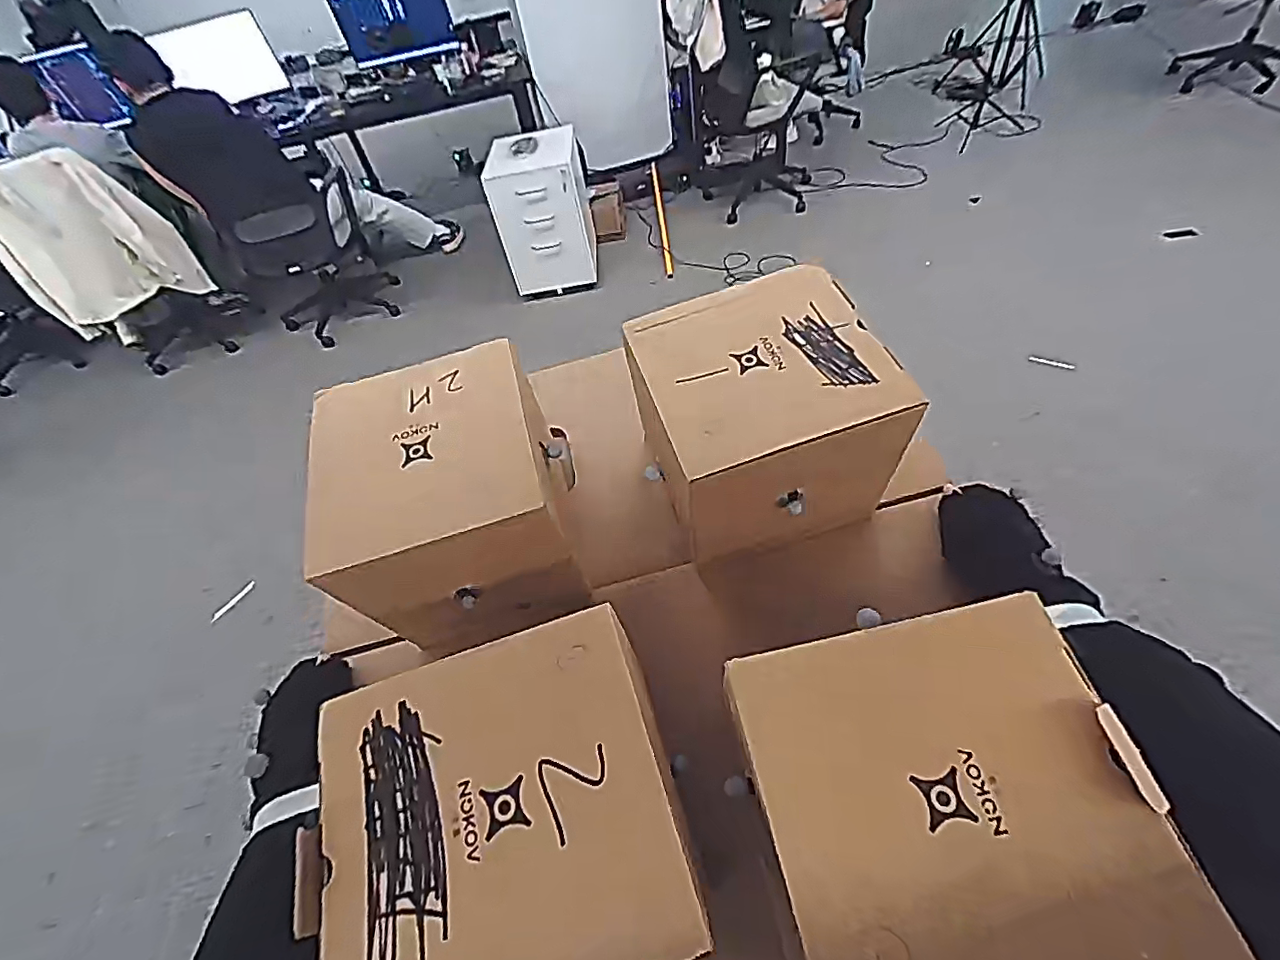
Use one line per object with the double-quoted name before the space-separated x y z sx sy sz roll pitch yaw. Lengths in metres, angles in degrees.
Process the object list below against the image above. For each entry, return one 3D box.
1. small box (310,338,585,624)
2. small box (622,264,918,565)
"small box" -0.155 0.013 0.476 0.168 0.176 0.179 -16 58 -2
"small box" 0.098 -0.048 0.475 0.179 0.176 0.168 -19 58 -1
